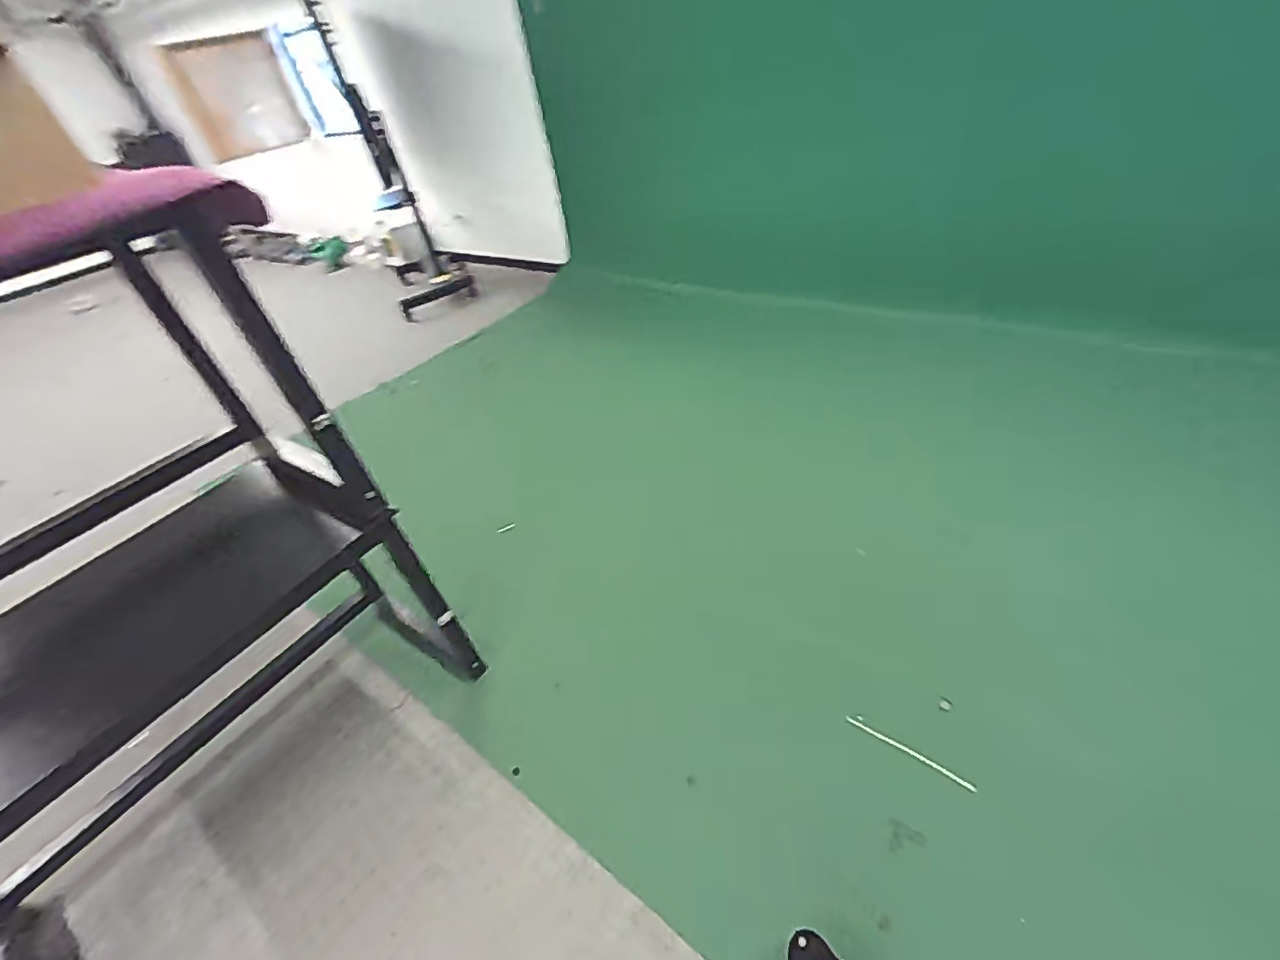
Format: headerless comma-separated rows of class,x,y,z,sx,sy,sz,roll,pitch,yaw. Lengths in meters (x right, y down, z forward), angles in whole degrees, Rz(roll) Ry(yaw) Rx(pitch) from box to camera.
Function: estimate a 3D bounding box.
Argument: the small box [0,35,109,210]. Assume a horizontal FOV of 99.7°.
small box,-0.898,-0.489,0.749,0.168,0.176,0.179,21,51,32
